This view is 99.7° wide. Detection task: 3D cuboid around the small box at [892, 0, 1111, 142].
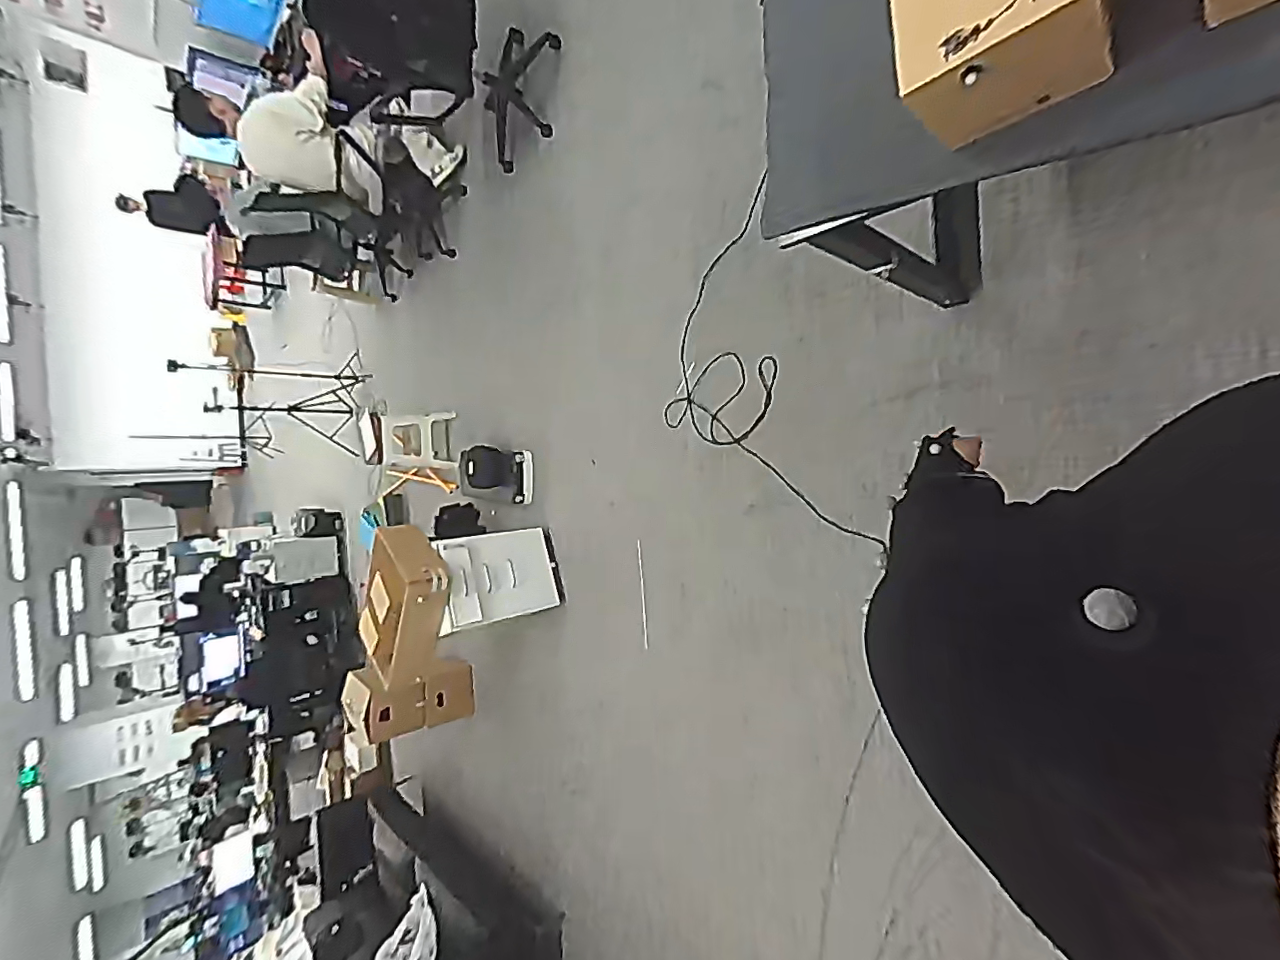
[{"bbox_3d":[0.393,-0.519,0.590,0.168,0.176,0.179,-4,90,48],"label":"small box"}]
